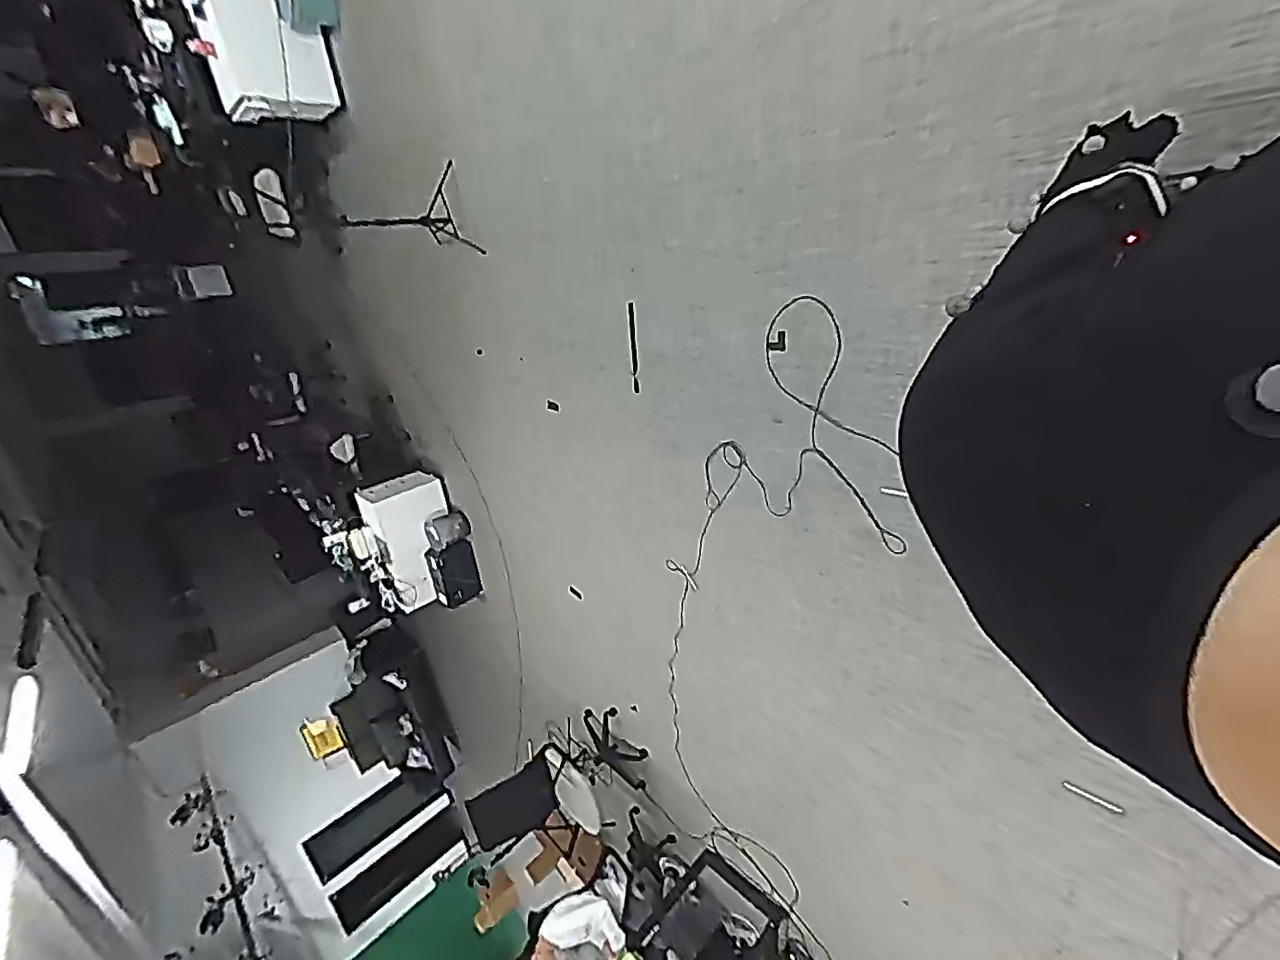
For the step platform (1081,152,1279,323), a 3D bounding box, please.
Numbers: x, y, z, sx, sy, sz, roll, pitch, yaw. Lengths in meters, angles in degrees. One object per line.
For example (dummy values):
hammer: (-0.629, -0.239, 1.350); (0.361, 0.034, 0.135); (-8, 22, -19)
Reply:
step platform: (1.212, -0.434, 0.945); (0.684, 0.204, 0.286); (14, 120, 42)
